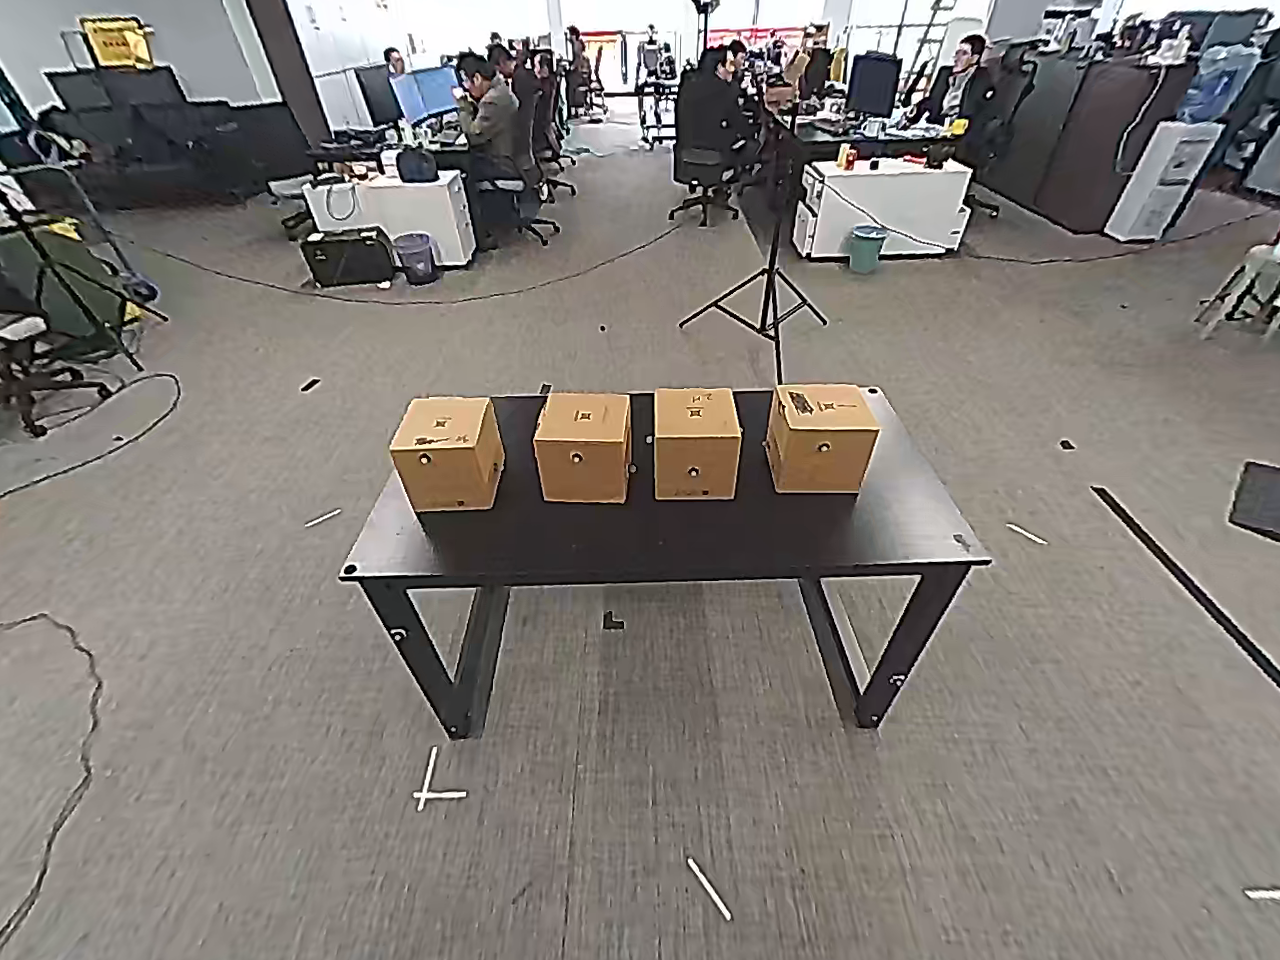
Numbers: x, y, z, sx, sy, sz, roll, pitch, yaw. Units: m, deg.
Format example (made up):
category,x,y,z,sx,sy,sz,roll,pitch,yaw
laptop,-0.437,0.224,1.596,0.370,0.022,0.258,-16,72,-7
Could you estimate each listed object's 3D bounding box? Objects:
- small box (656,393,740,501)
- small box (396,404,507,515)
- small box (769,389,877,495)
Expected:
category,x,y,z,sx,sy,sz,roll,pitch,yaw
small box,0.118,-0.068,1.156,0.168,0.176,0.179,0,41,1
small box,-0.387,-0.045,1.149,0.168,0.176,0.179,-2,41,0
small box,0.379,-0.080,1.159,0.179,0.176,0.168,0,41,2
